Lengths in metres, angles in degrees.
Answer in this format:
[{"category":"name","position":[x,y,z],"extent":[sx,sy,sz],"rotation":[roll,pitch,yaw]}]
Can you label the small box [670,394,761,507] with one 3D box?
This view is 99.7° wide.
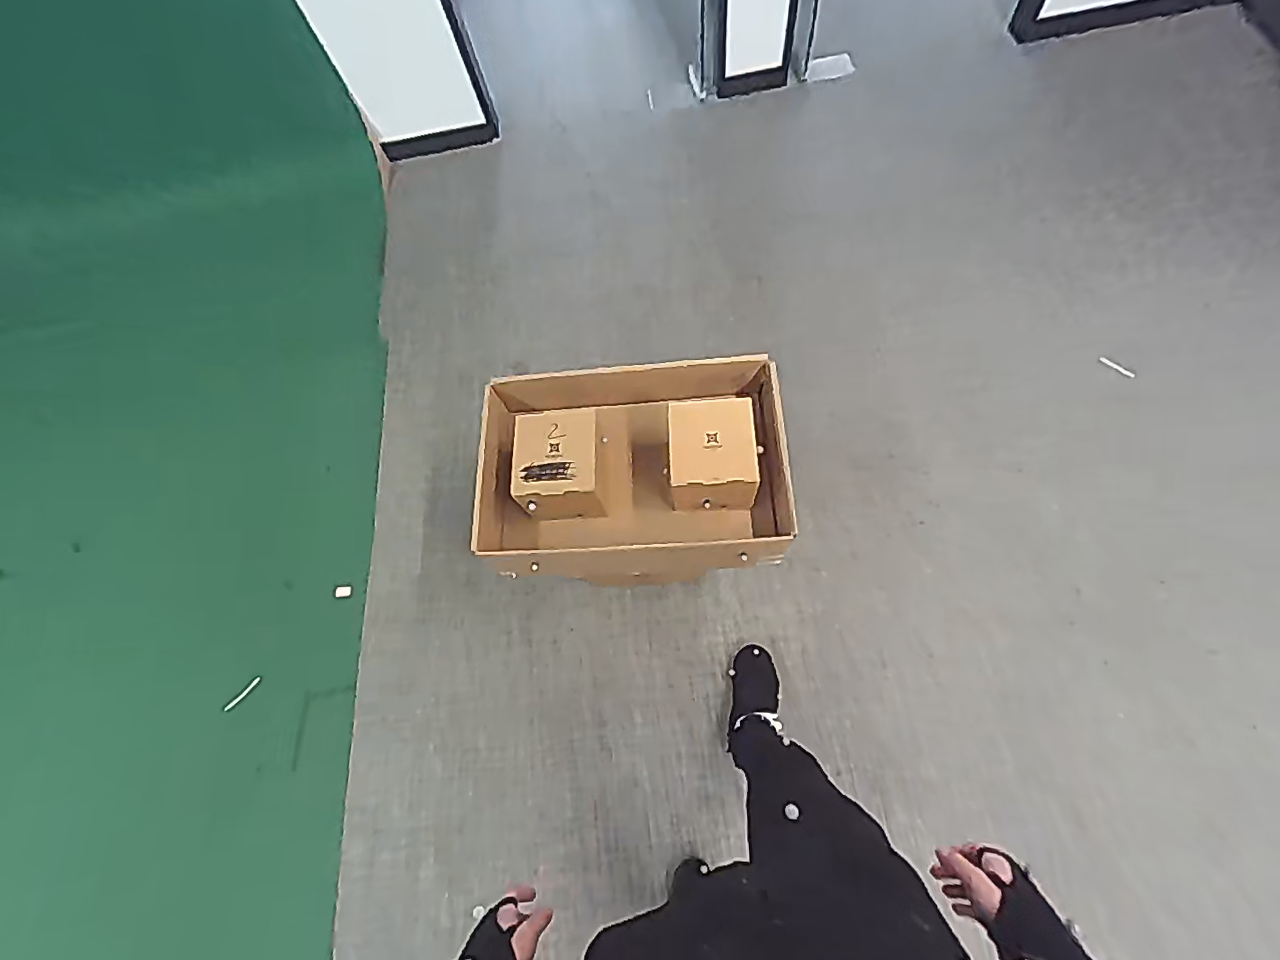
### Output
[{"category":"small box","position":[0.147,-0.054,1.099],"extent":[0.168,0.176,0.179],"rotation":[-3,70,5]}]
